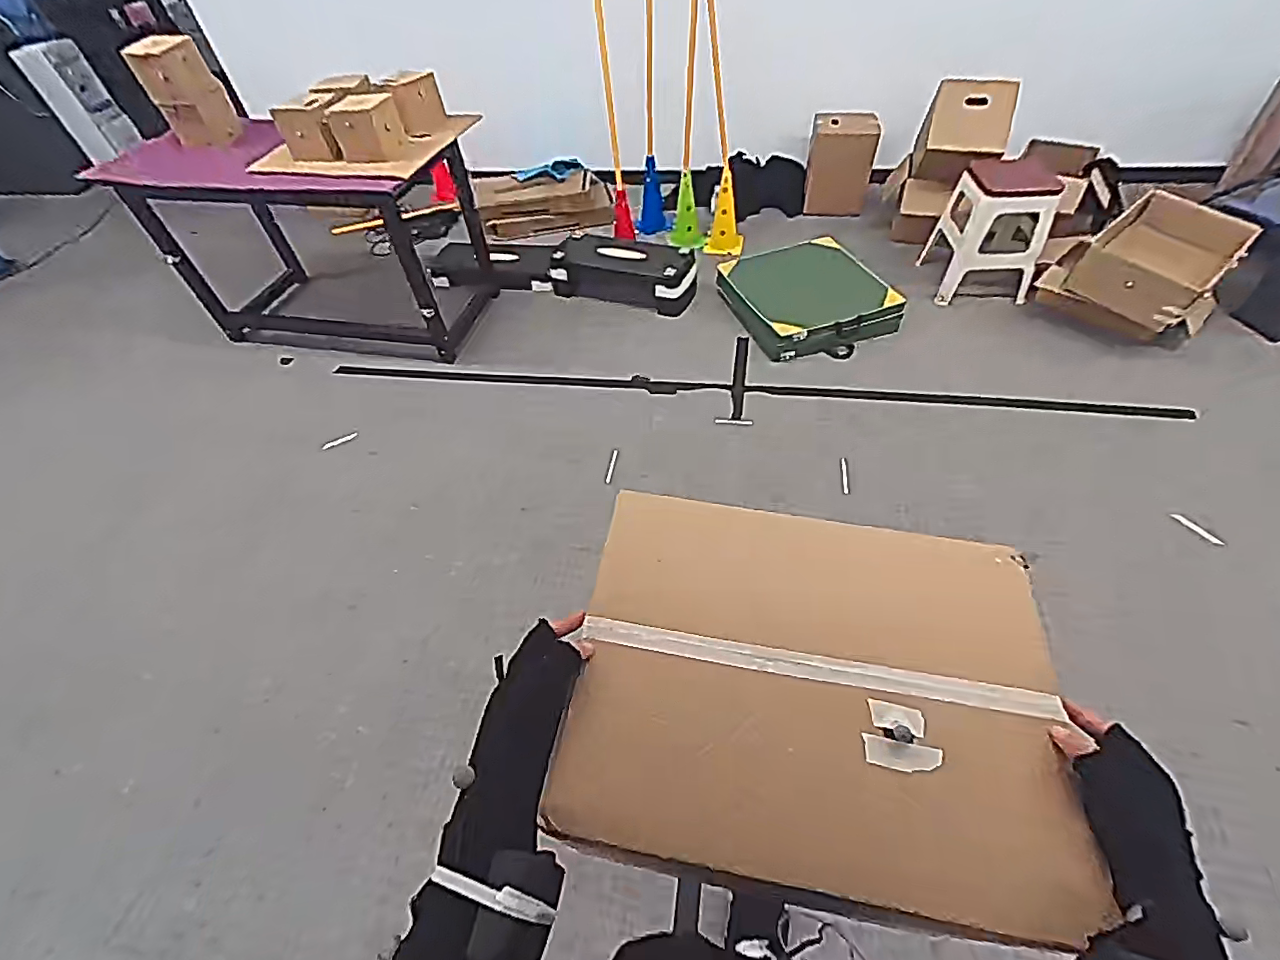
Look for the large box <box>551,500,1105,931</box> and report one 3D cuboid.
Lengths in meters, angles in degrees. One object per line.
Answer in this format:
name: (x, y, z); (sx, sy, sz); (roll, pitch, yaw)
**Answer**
large box: (0.148, 0.254, 0.595); (0.408, 0.320, 0.320); (8, 54, 6)
